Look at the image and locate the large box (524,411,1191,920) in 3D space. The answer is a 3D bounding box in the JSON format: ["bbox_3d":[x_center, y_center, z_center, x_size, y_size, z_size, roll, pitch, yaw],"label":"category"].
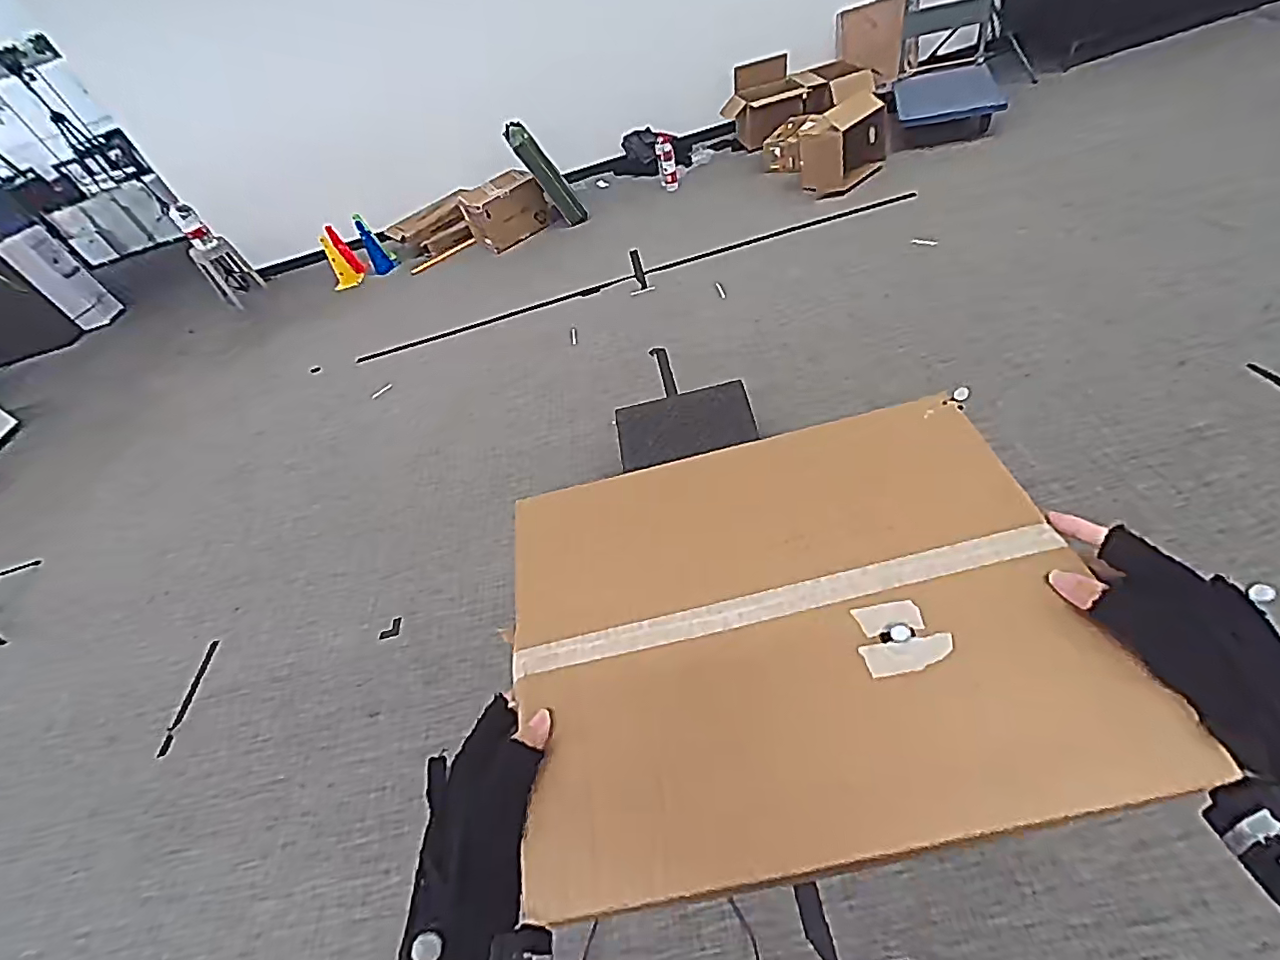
[{"bbox_3d":[0.132,0.190,0.528,0.408,0.320,0.320,-14,51,3],"label":"large box"}]
